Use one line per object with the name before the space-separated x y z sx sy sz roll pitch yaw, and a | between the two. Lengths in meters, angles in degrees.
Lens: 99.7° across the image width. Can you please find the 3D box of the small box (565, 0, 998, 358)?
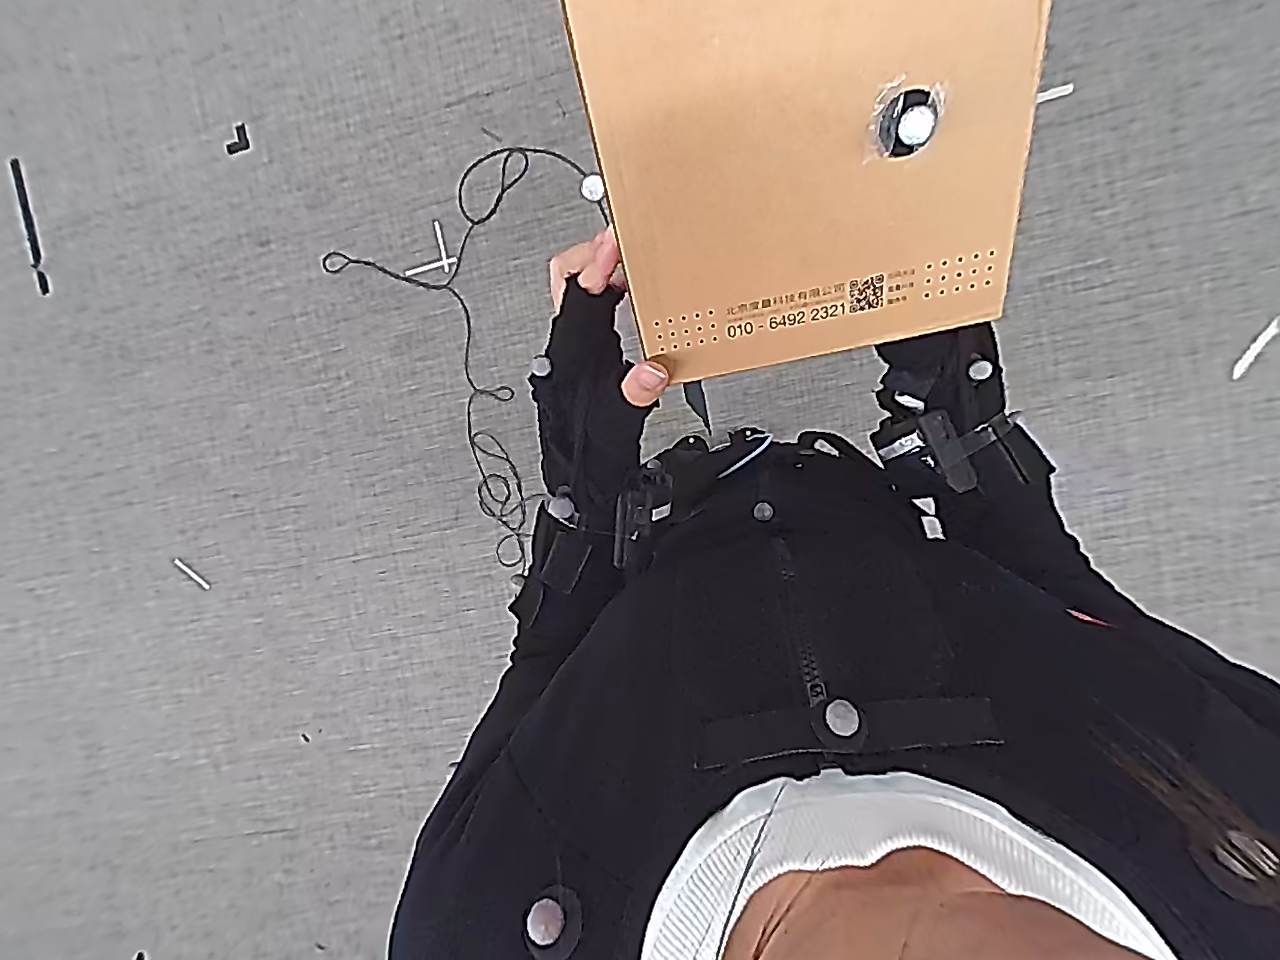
small box | 0.071 -0.179 0.300 0.168 0.179 0.176 -9 124 9
